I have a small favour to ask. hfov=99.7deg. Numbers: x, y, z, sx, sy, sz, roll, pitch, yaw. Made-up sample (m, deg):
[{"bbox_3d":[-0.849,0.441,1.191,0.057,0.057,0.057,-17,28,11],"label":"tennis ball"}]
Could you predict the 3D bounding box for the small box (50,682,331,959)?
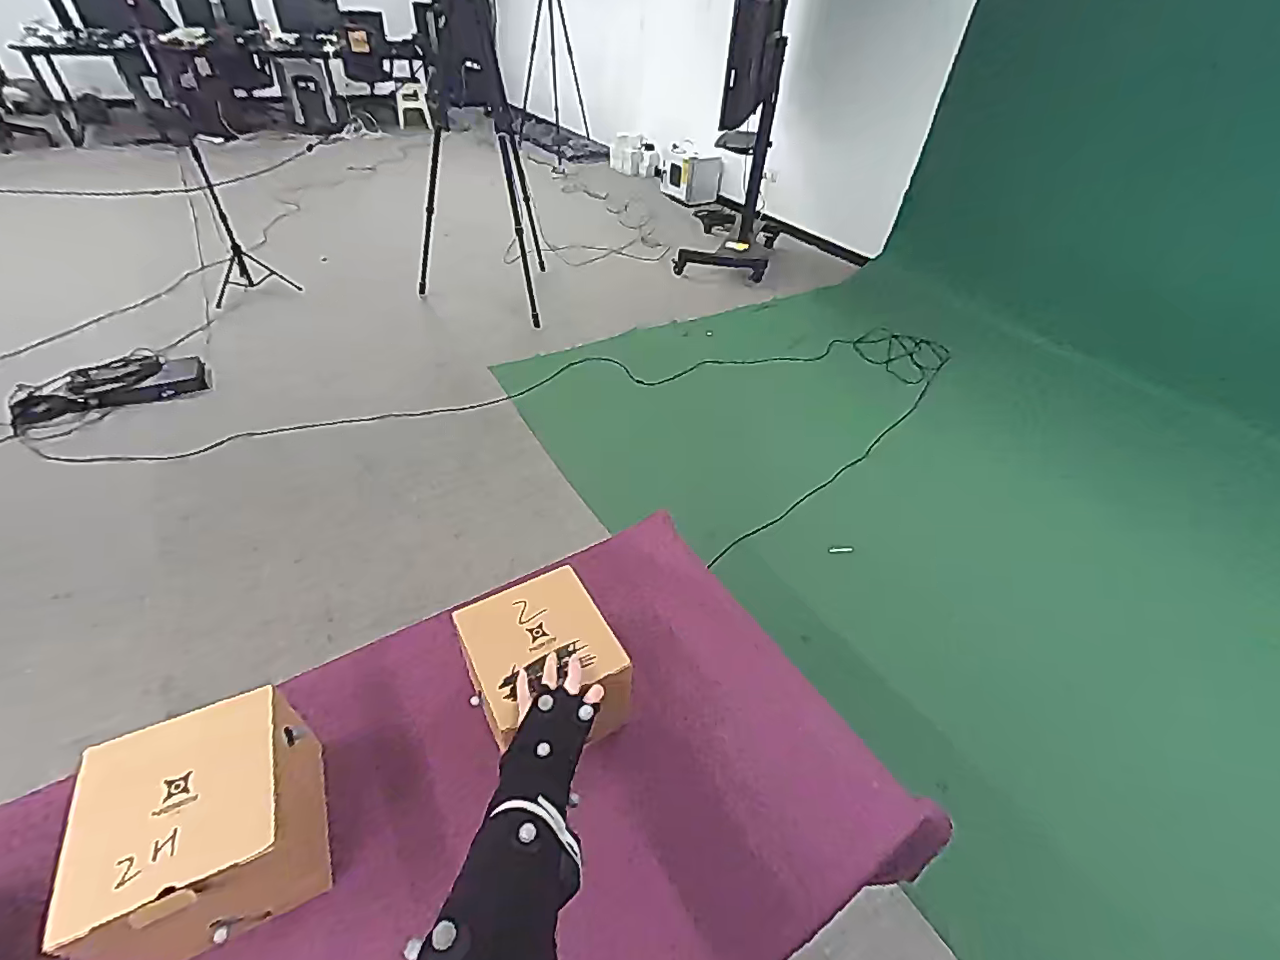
[{"bbox_3d":[-0.447,0.357,0.574,0.168,0.176,0.179,-16,47,-21],"label":"small box"}]
